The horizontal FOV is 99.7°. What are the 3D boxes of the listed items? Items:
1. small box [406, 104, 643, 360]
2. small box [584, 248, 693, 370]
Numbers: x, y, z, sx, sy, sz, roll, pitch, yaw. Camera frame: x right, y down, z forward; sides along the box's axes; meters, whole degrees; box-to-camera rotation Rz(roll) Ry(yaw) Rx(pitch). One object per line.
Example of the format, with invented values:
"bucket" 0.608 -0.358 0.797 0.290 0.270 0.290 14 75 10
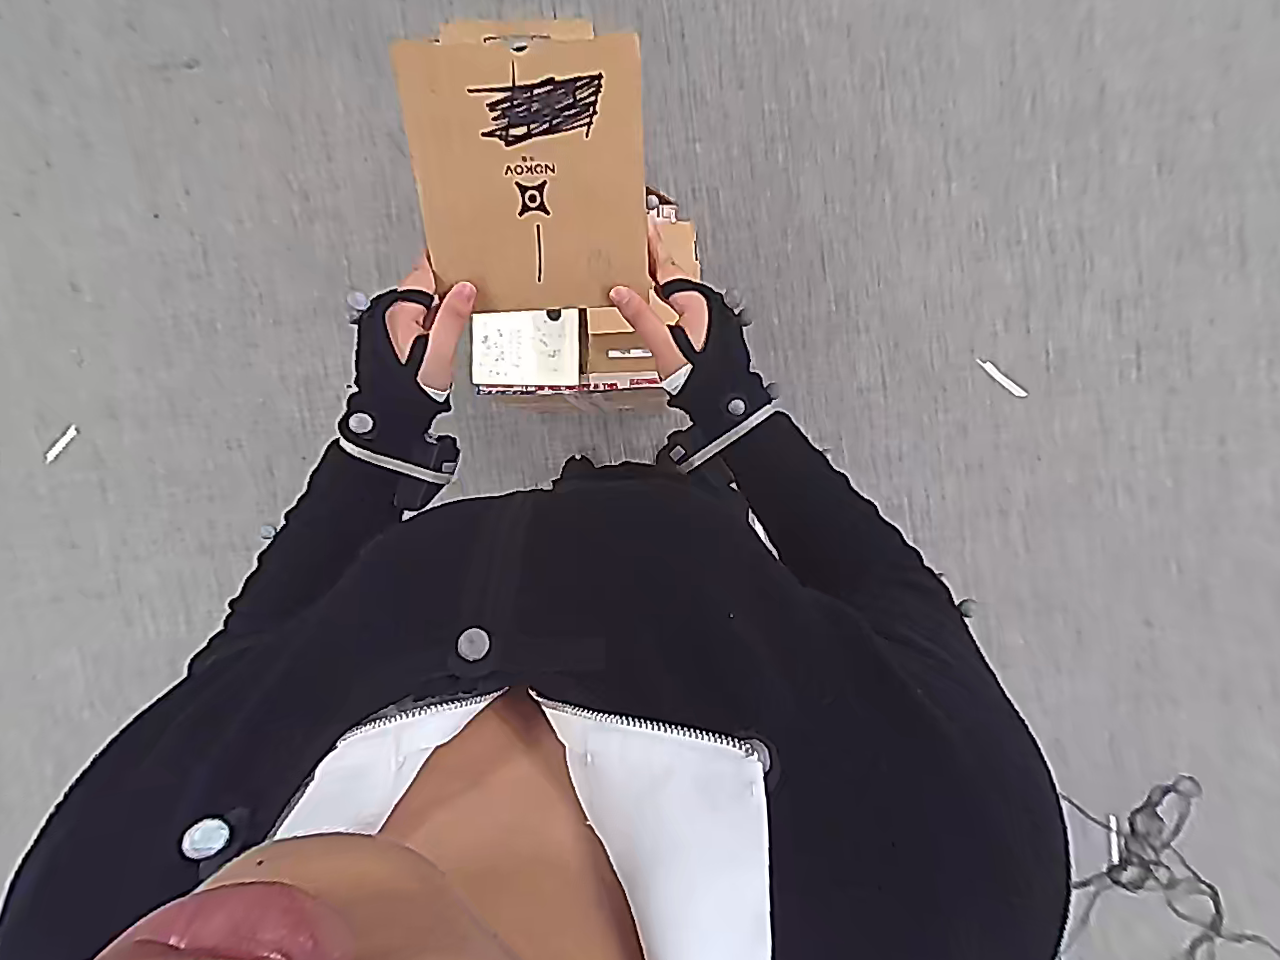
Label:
"small box" -0.086 -0.210 0.483 0.168 0.176 0.179 -3 112 -2
"small box" -0.009 -0.284 0.928 0.179 0.176 0.168 -3 94 -1
